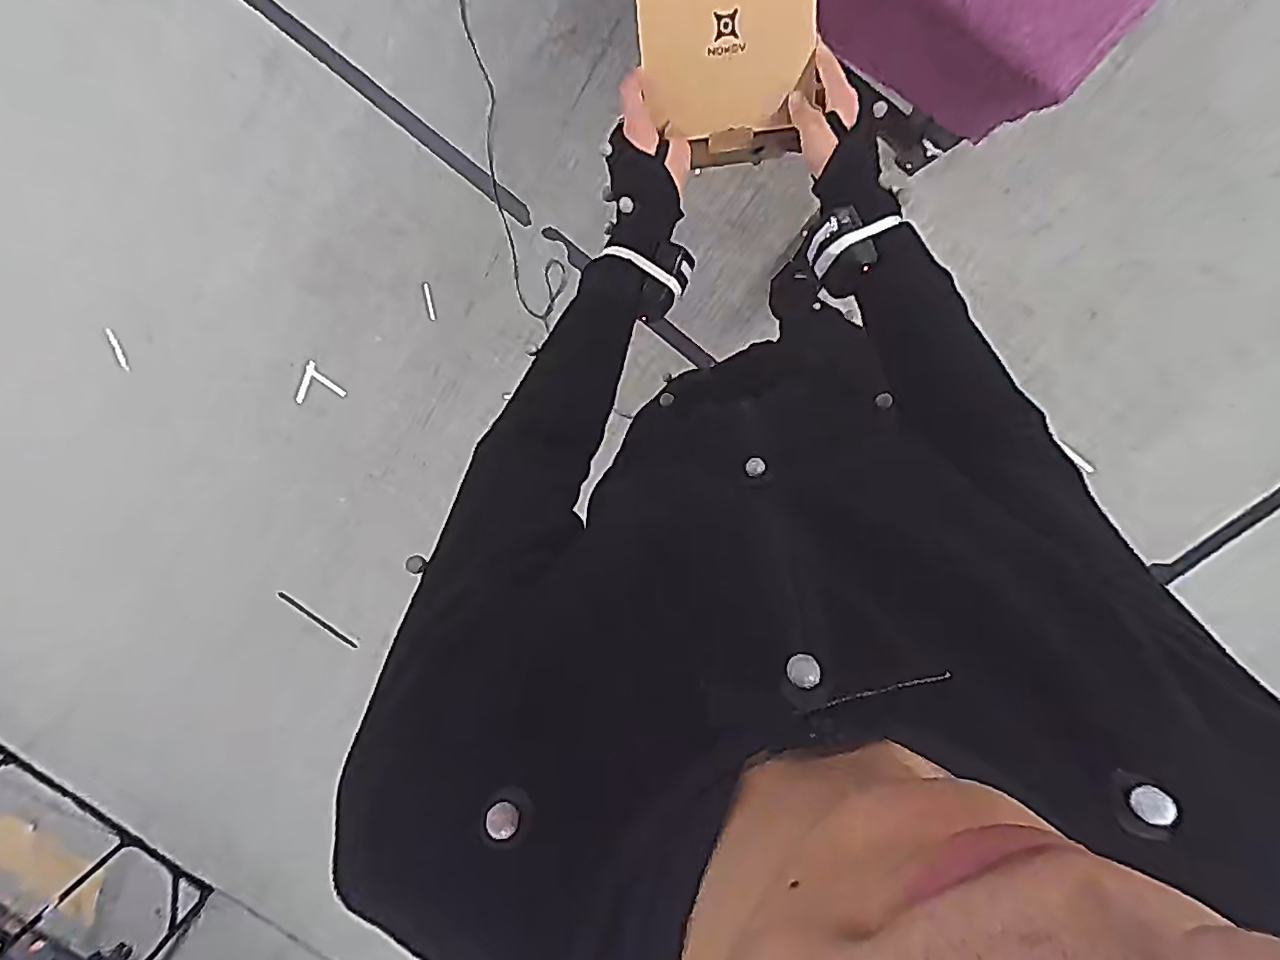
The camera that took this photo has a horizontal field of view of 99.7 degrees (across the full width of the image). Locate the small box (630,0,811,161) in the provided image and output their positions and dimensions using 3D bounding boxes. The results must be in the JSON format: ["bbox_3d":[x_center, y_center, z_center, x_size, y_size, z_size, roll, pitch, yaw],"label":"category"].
[{"bbox_3d":[0.079,-0.452,0.572,0.168,0.176,0.179,-4,111,5],"label":"small box"}]
